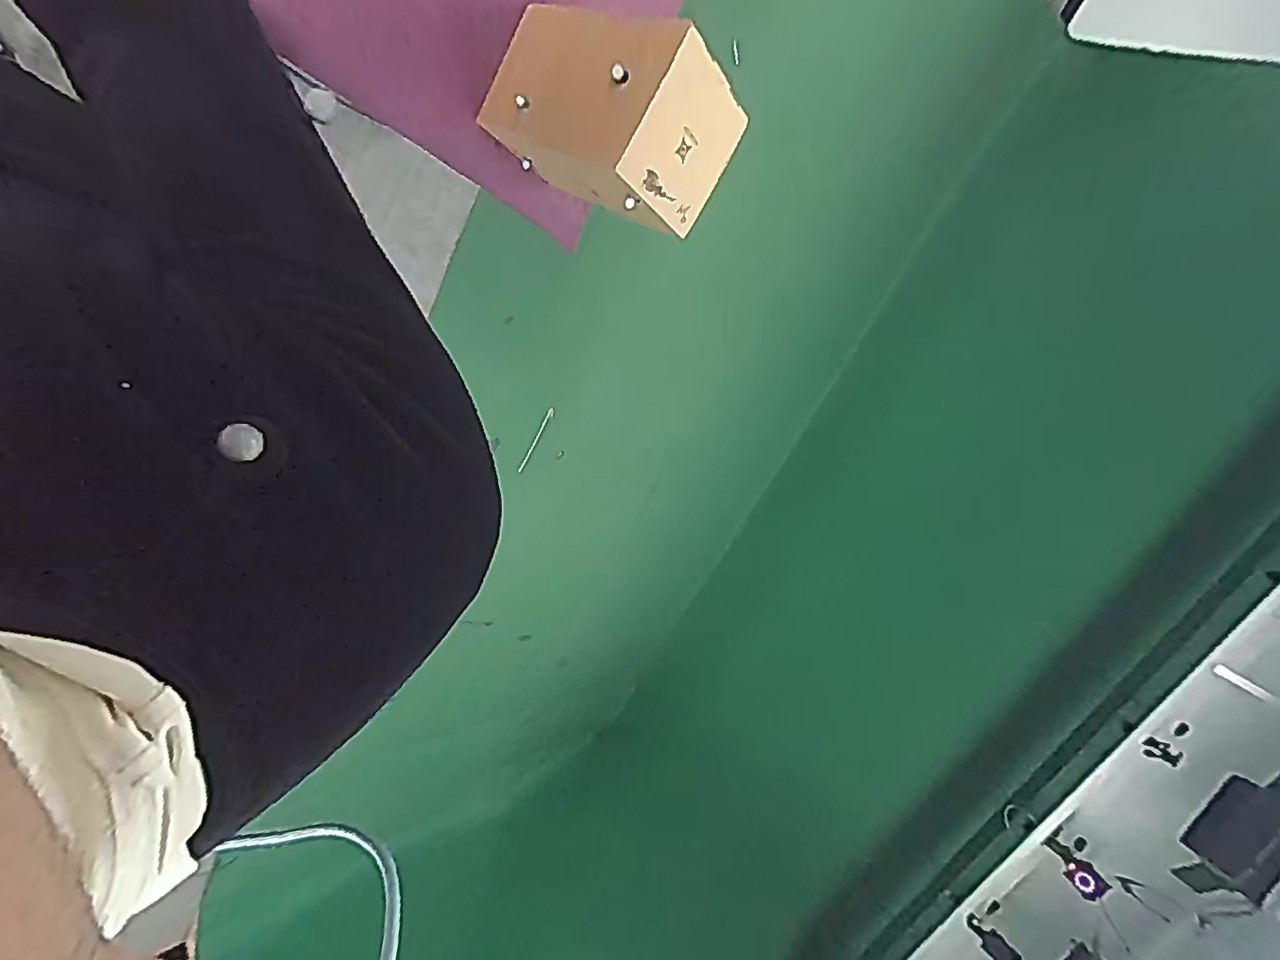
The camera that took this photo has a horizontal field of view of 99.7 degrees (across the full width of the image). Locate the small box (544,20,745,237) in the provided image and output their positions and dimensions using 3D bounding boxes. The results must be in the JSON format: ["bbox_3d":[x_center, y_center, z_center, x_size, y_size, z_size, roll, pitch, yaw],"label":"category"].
[{"bbox_3d":[0.002,-0.465,0.719,0.168,0.176,0.179,14,110,-54],"label":"small box"}]
